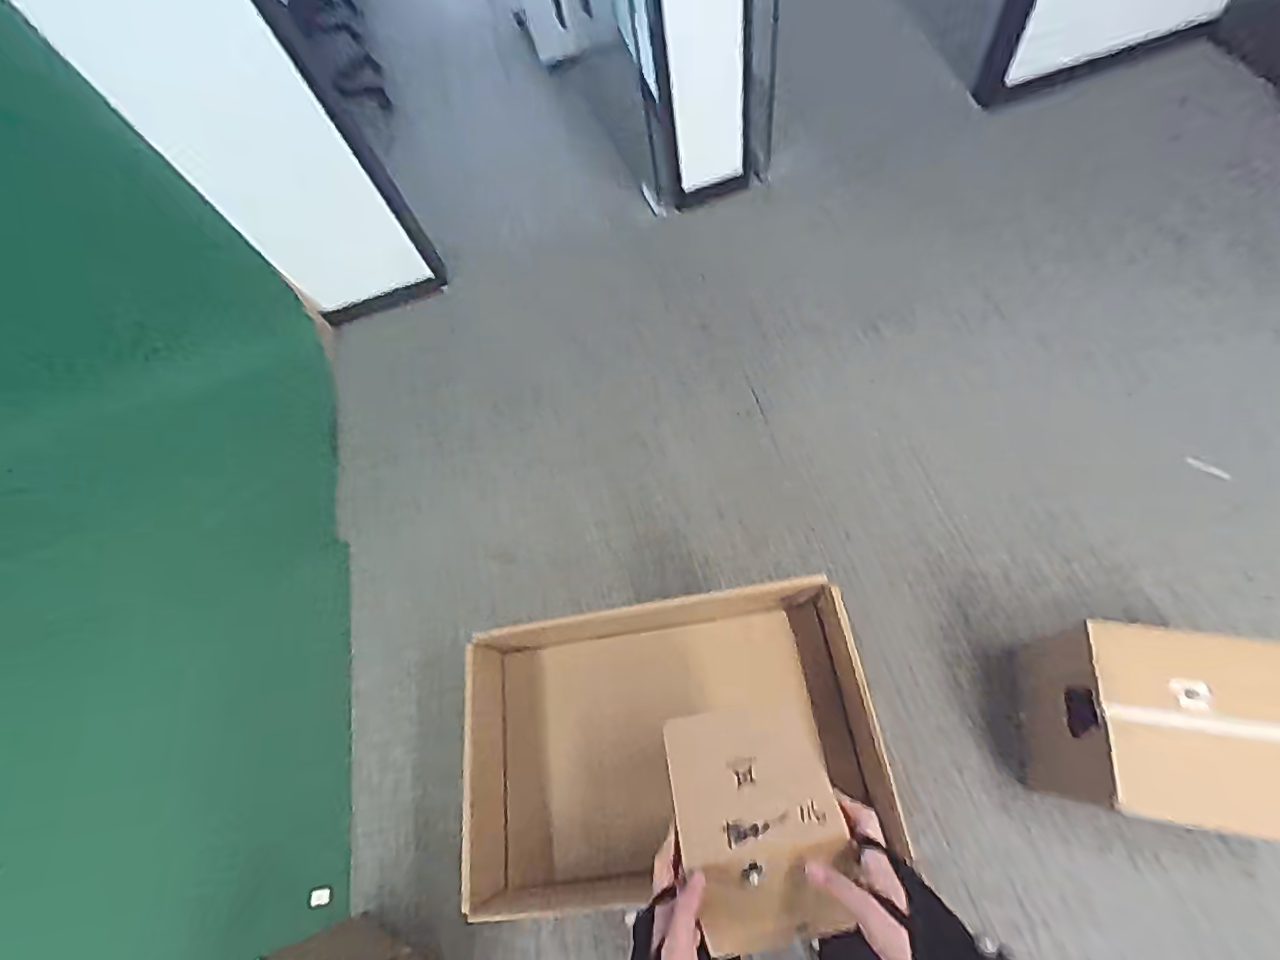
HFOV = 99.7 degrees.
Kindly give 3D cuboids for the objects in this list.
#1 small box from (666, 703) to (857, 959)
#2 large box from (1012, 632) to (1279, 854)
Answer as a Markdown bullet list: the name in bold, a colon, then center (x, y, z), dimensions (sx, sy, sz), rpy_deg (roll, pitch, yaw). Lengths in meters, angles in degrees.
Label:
- **small box**: center (0.132, 0.395, 0.618), dimensions (0.168, 0.176, 0.179), rpy_deg (-13, 25, 1)
- **large box**: center (1.005, 0.492, 1.022), dimensions (0.408, 0.320, 0.320), rpy_deg (4, 65, 13)
